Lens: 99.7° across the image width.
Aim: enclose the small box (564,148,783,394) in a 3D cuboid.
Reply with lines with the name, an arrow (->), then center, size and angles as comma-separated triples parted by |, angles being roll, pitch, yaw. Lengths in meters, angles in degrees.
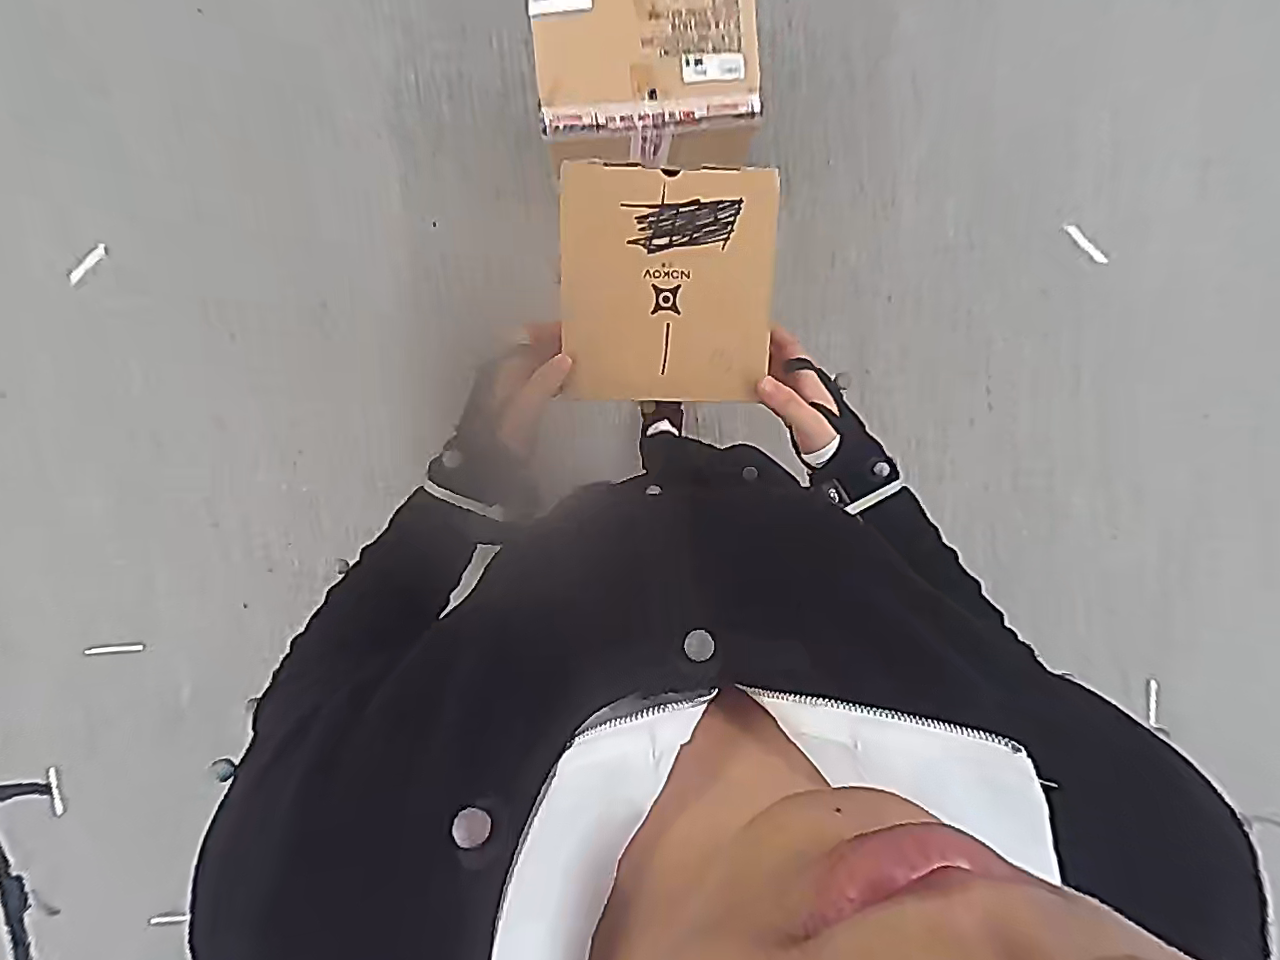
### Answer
small box -> 0.019, -0.169, 0.489 | 0.168, 0.176, 0.179 | 0, 102, -2
